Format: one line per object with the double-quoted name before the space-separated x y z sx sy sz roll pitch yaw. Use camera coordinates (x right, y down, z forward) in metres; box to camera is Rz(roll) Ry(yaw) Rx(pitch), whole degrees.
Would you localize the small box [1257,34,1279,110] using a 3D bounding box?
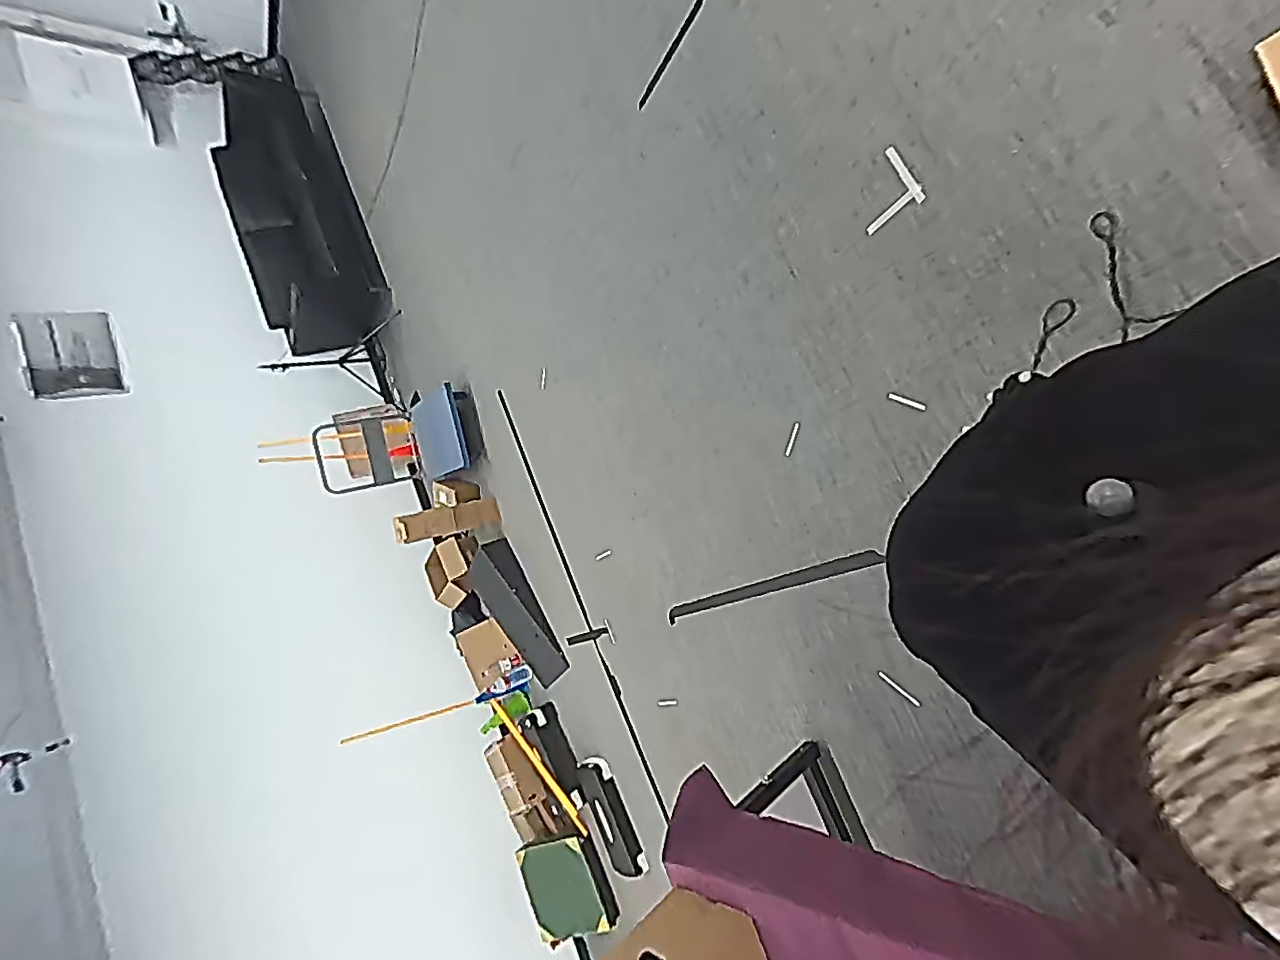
"small box" 1.094 -0.631 0.815 0.179 0.176 0.168 -25 82 51
